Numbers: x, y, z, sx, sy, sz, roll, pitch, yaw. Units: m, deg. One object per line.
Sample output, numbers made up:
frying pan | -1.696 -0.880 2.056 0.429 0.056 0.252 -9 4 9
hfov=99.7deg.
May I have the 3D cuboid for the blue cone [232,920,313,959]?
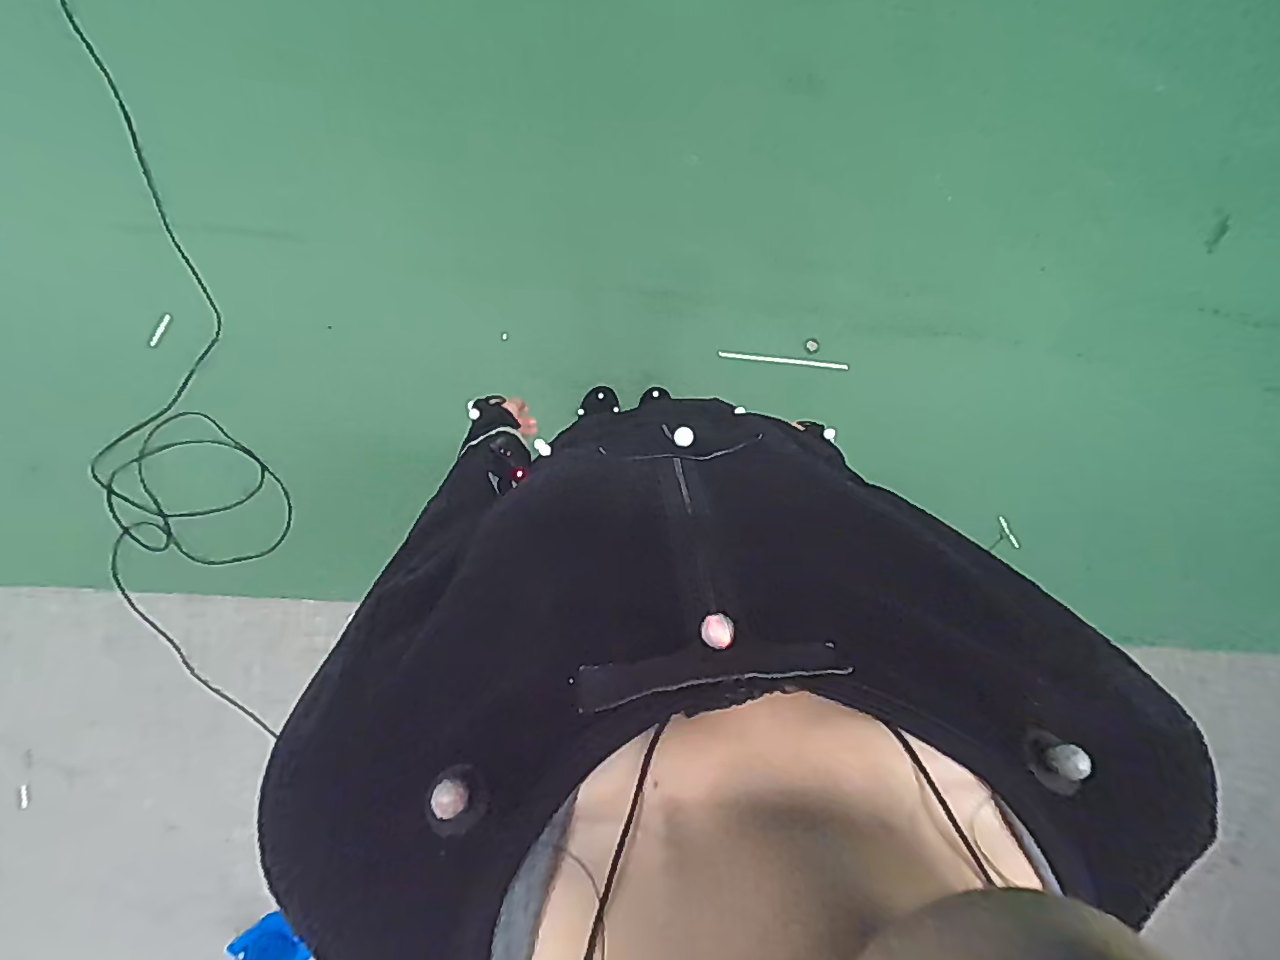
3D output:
blue cone | -1.092 1.462 1.471 0.193 0.380 0.192 -39 102 4
